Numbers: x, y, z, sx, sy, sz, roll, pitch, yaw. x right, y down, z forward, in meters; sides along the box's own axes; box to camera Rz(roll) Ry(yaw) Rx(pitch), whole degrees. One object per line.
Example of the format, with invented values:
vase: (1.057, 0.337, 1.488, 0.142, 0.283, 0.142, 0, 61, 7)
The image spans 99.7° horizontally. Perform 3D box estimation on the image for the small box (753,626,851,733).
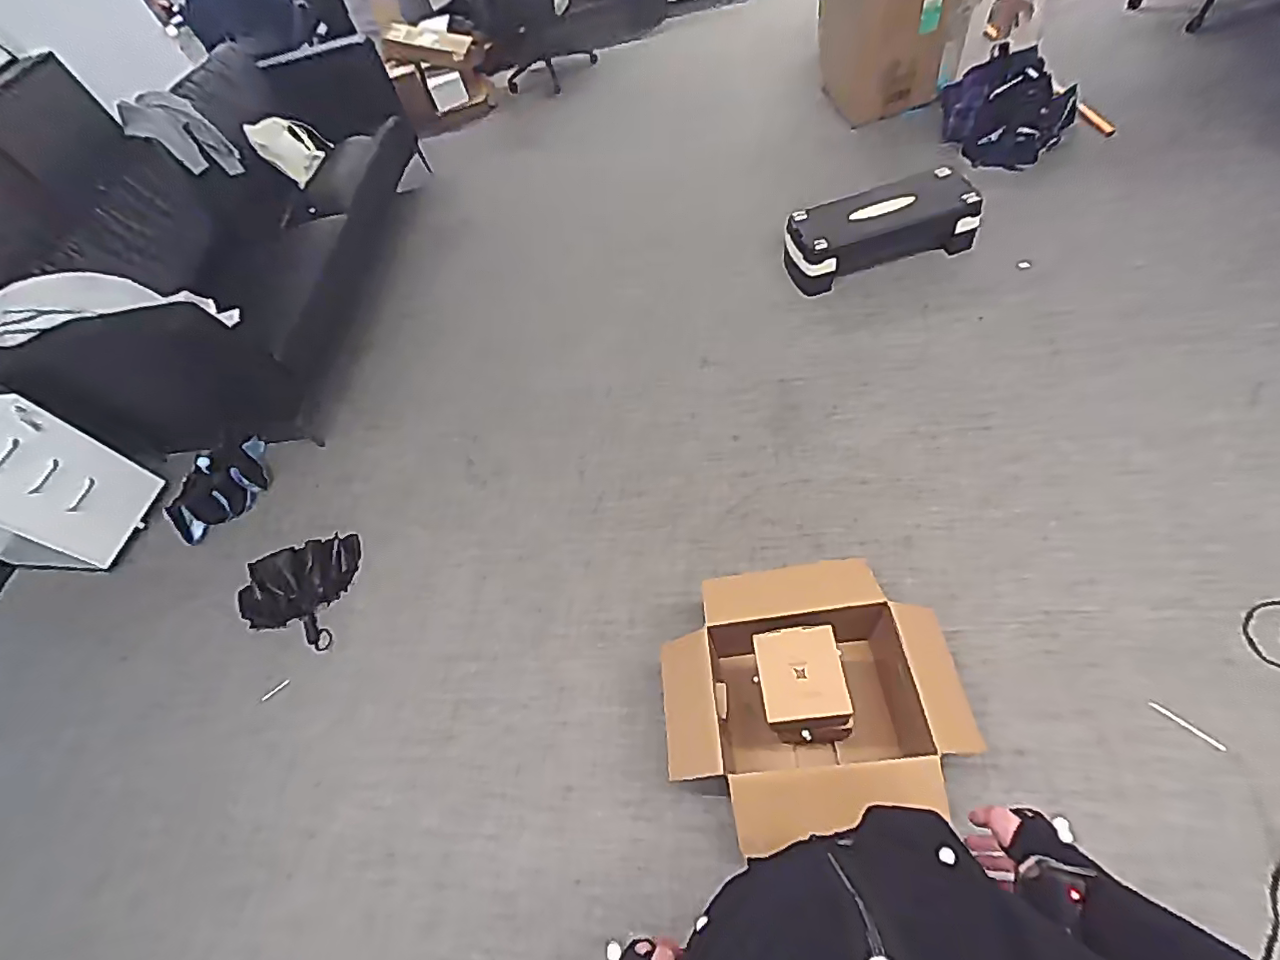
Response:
small box: (0.339, 0.430, 1.157, 0.168, 0.176, 0.179, -11, 57, 10)
